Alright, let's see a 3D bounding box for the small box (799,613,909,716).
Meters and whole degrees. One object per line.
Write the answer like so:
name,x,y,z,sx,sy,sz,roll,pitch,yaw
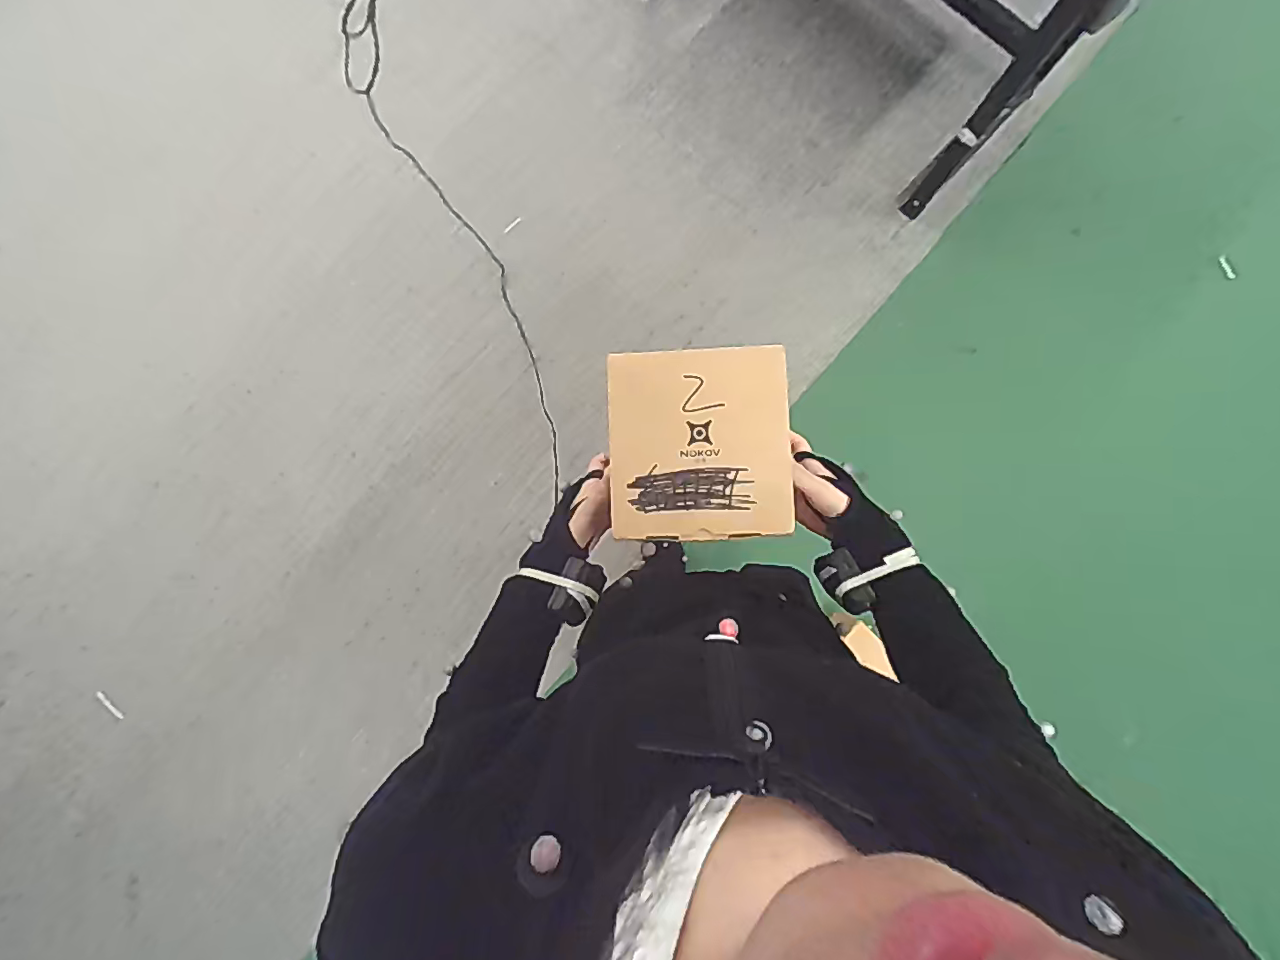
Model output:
small box,0.544,0.466,1.399,0.179,0.176,0.168,44,86,6
